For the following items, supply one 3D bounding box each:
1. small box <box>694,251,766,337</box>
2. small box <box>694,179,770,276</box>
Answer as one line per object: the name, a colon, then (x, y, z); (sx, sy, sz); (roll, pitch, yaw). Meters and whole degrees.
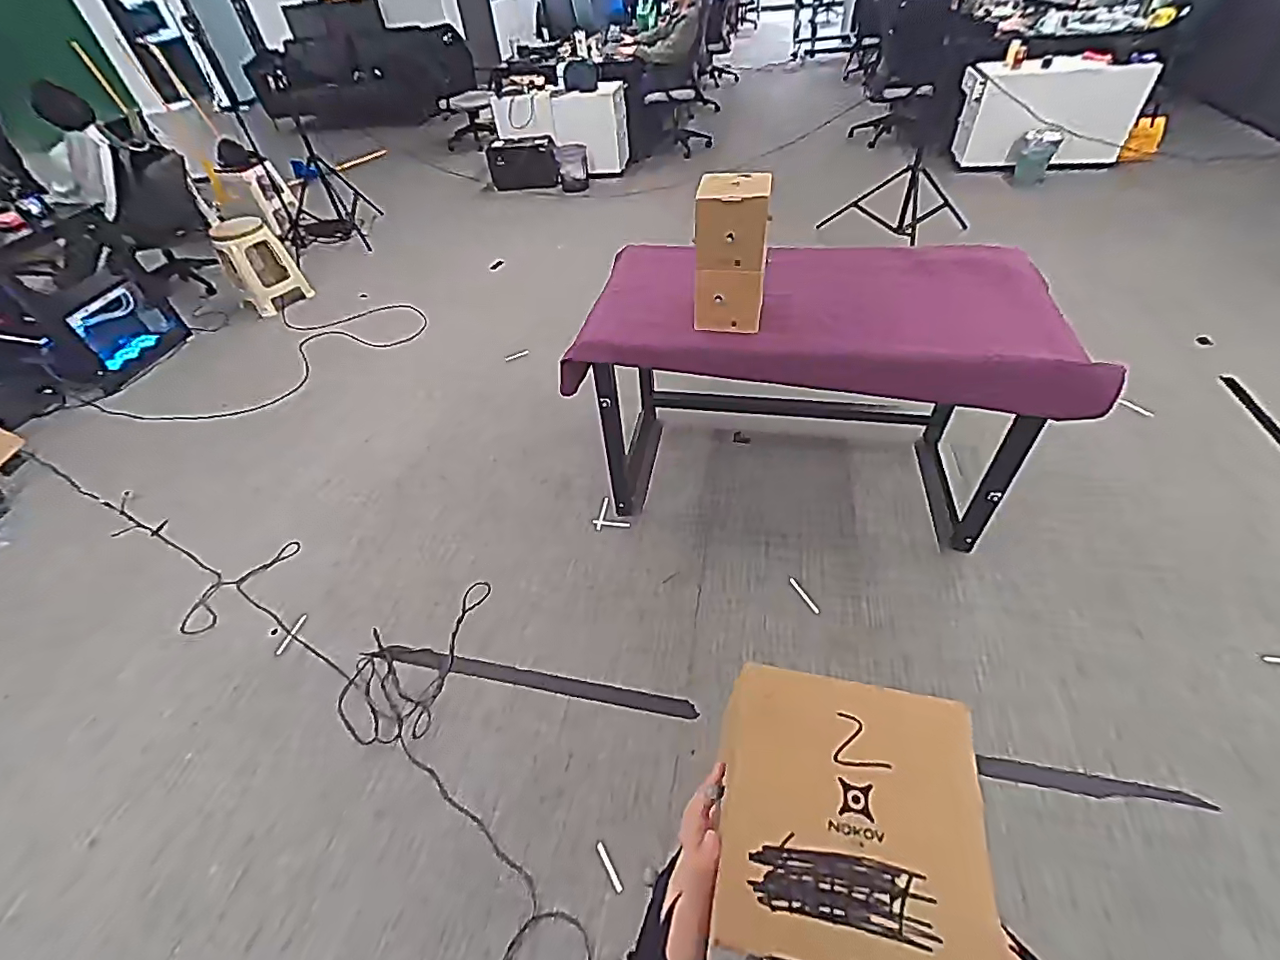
small box: (0.238, -0.494, 1.430); (0.168, 0.176, 0.179); (7, 46, 12)
small box: (0.224, -0.613, 1.318); (0.168, 0.176, 0.179); (6, 46, 11)
